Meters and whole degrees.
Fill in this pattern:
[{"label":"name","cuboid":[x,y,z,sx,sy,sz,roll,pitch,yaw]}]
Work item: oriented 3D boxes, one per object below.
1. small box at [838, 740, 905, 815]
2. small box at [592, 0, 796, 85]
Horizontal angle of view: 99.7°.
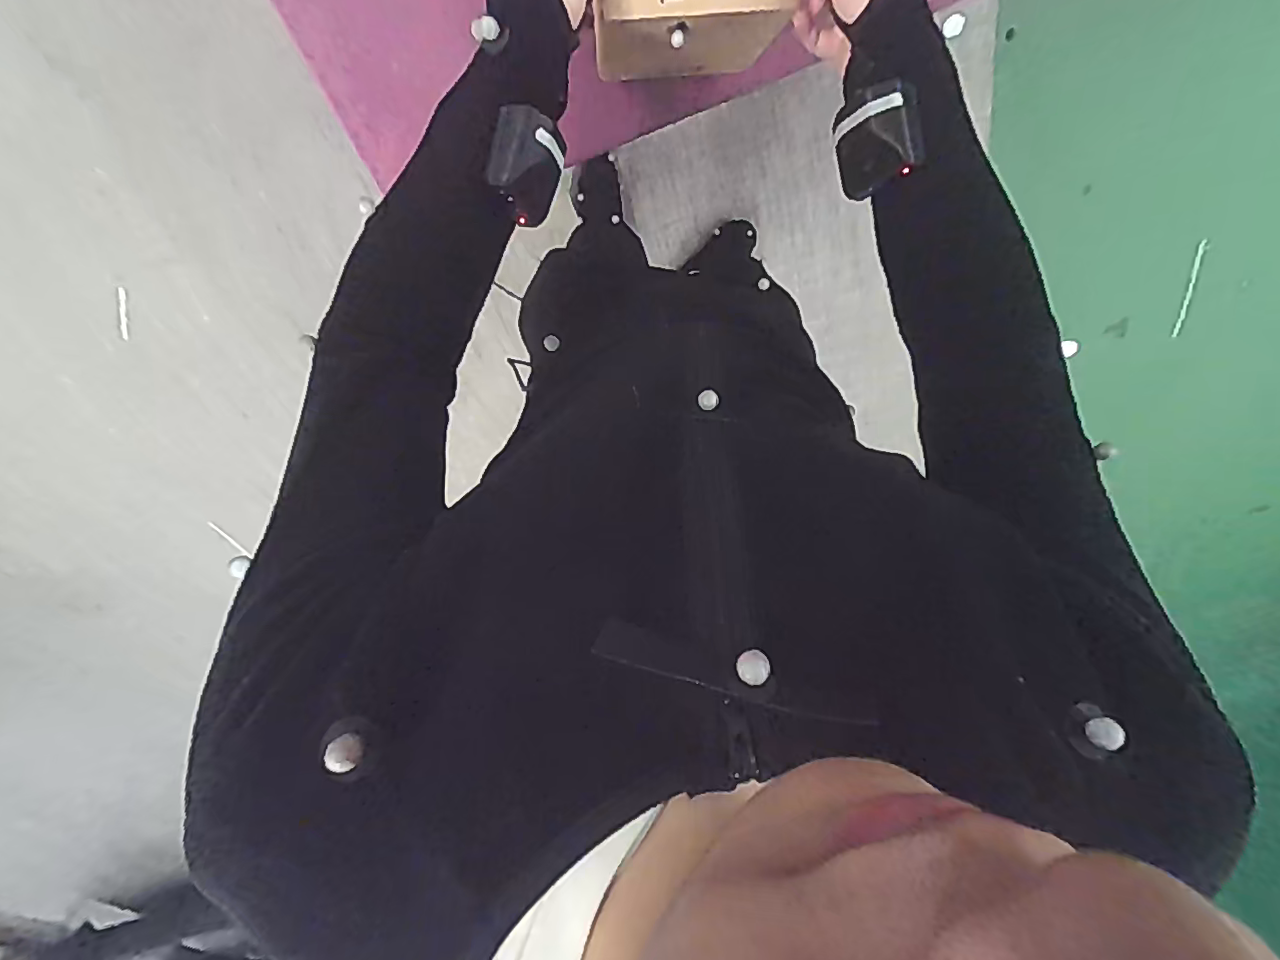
[{"label":"small box","cuboid":[0.809,1.037,1.901,0.168,0.176,0.179,-16,125,4]},{"label":"small box","cuboid":[0.038,-0.488,0.488,0.168,0.176,0.179,-5,114,-2]}]
